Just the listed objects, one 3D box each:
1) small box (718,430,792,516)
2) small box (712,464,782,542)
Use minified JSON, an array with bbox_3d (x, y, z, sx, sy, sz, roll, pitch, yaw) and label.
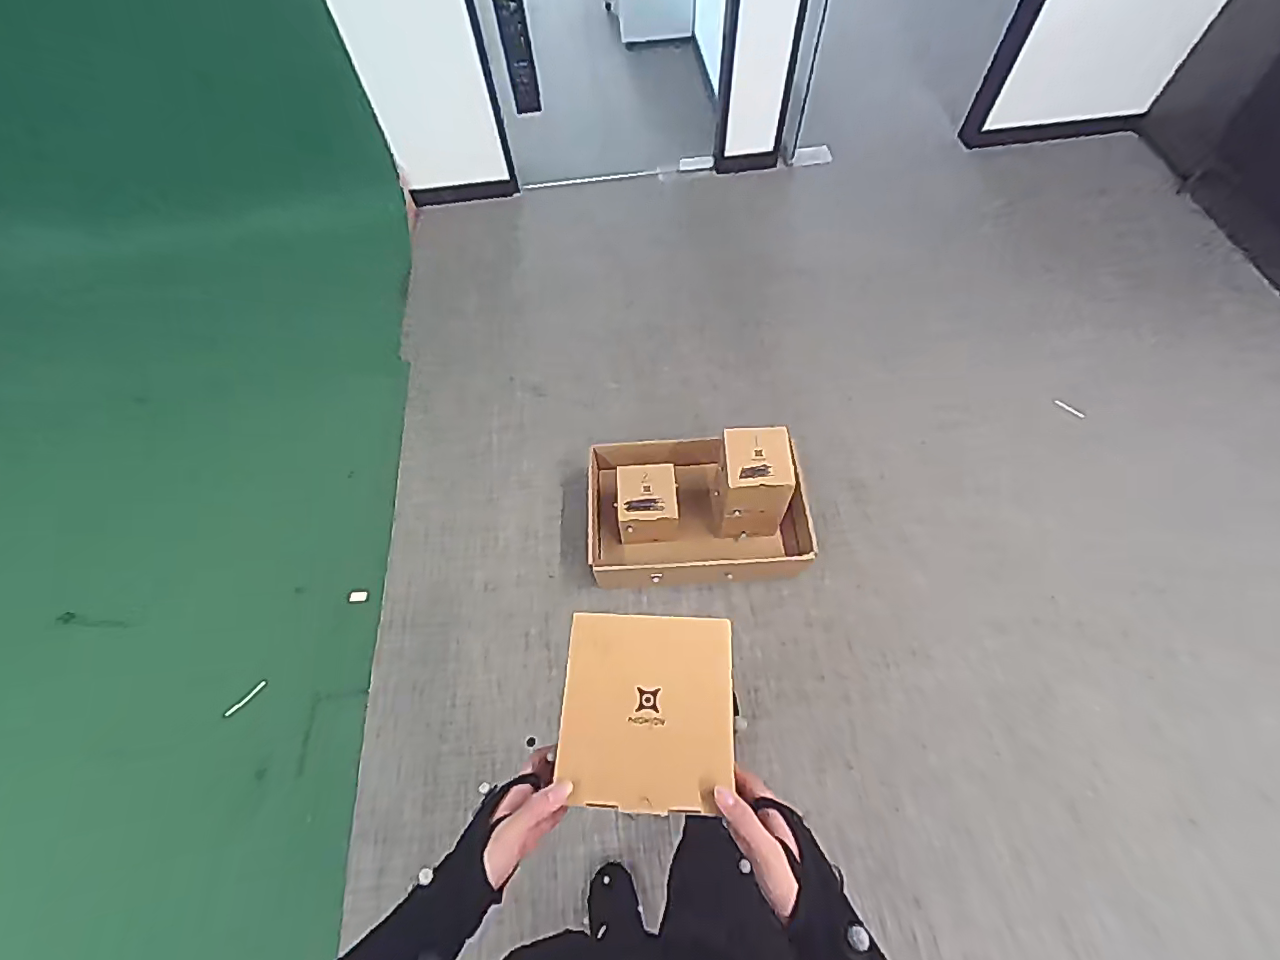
[{"bbox_3d":[0.297,-0.013,1.429,0.168,0.176,0.179,-2,60,2],"label":"small box"},{"bbox_3d":[0.304,0.066,1.572,0.168,0.176,0.179,-3,61,1],"label":"small box"}]
